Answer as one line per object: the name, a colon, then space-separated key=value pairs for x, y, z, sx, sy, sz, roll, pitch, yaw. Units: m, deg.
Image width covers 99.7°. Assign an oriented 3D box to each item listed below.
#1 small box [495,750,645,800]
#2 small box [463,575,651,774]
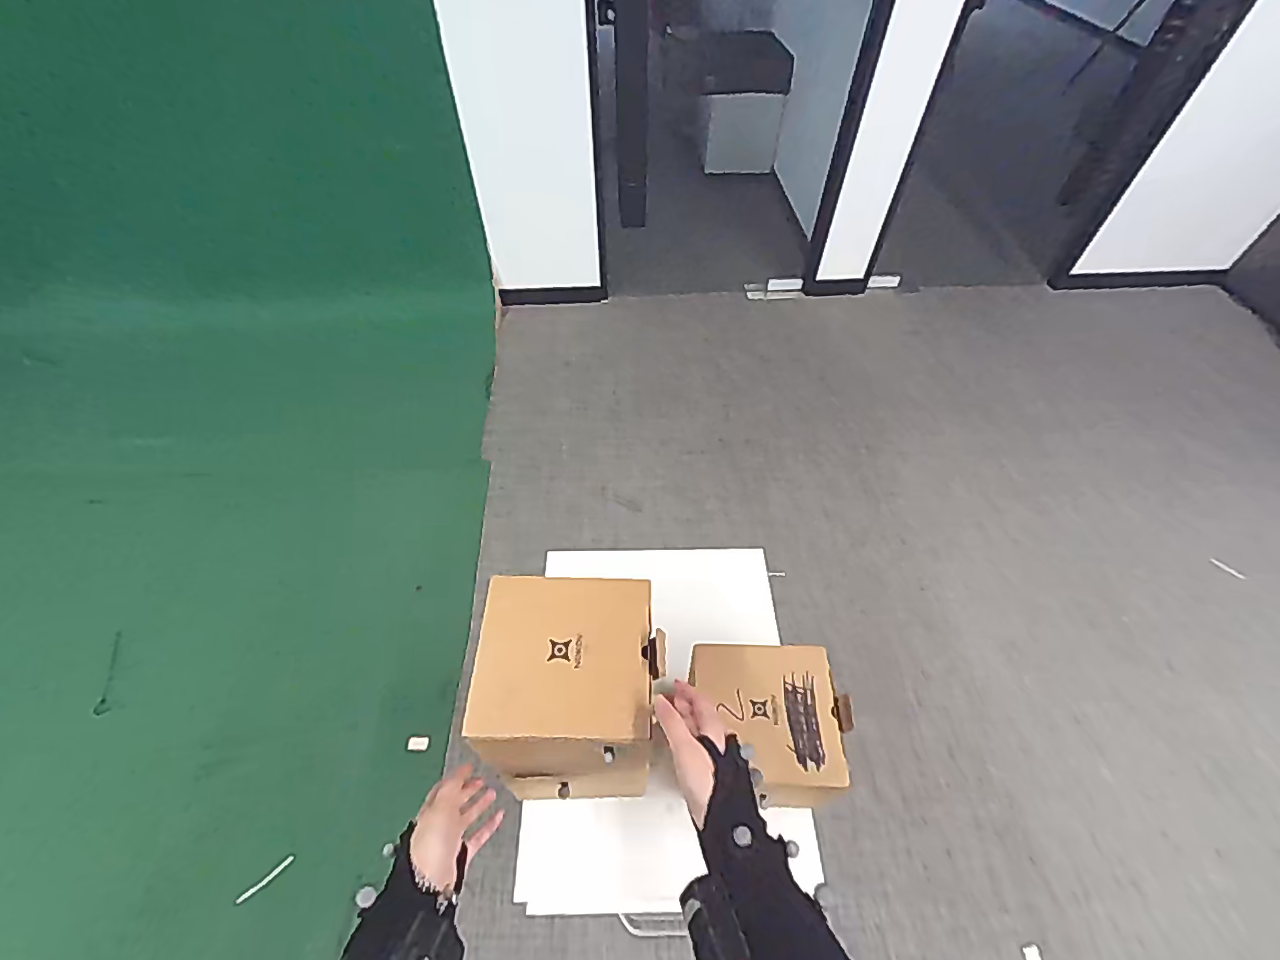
small box: x=-0.084 y=0.326 z=0.732 sx=0.179 sy=0.176 sz=0.168 roll=0 pitch=51 yaw=-2
small box: x=-0.080 y=0.222 z=0.606 sx=0.179 sy=0.176 sz=0.168 roll=2 pitch=51 yaw=-3
